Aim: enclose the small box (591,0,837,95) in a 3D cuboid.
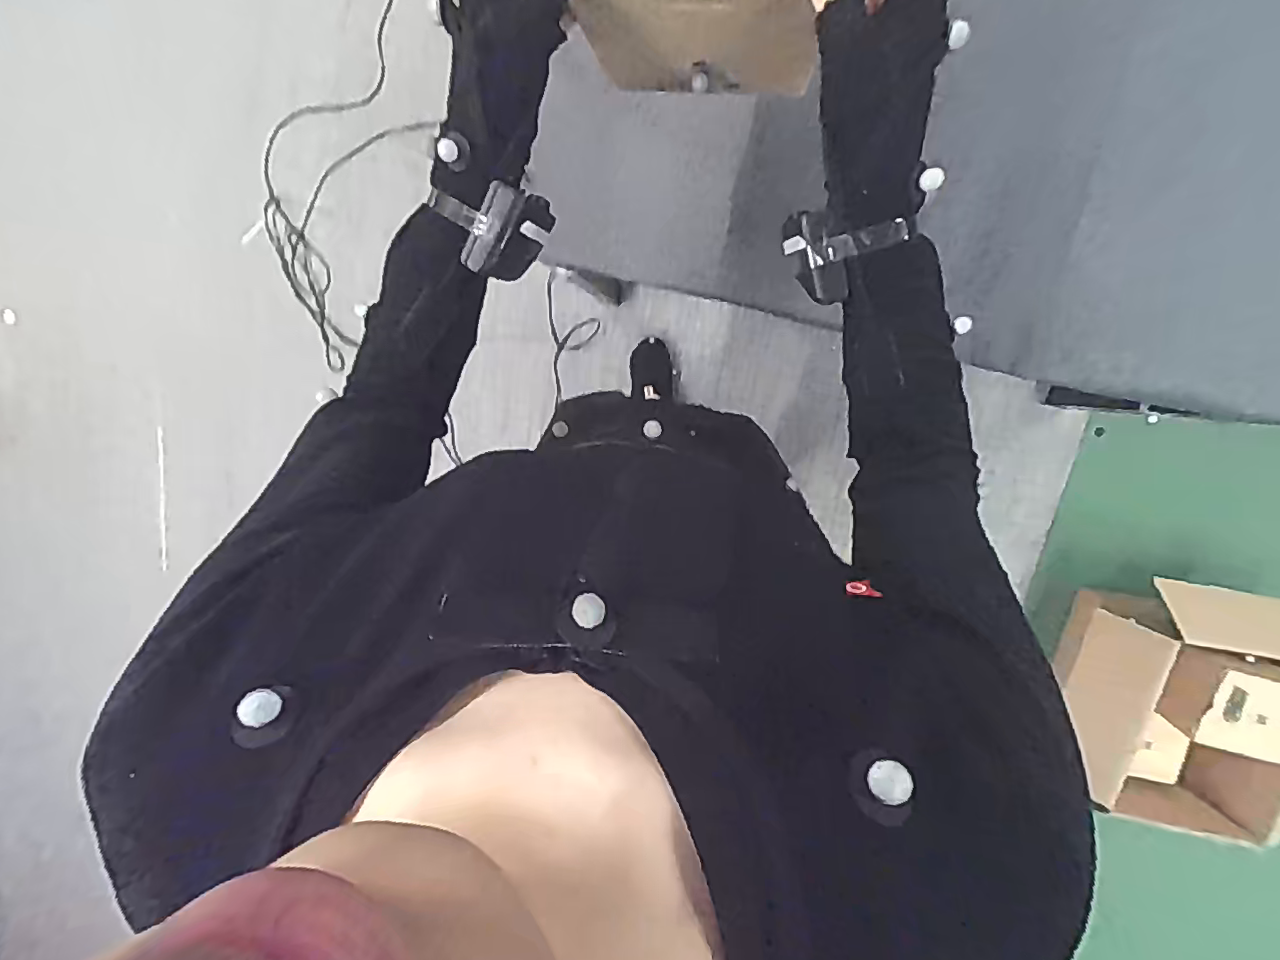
[{"bbox_3d":[0.053,-0.395,0.364,0.168,0.176,0.179,7,109,7],"label":"small box"}]
